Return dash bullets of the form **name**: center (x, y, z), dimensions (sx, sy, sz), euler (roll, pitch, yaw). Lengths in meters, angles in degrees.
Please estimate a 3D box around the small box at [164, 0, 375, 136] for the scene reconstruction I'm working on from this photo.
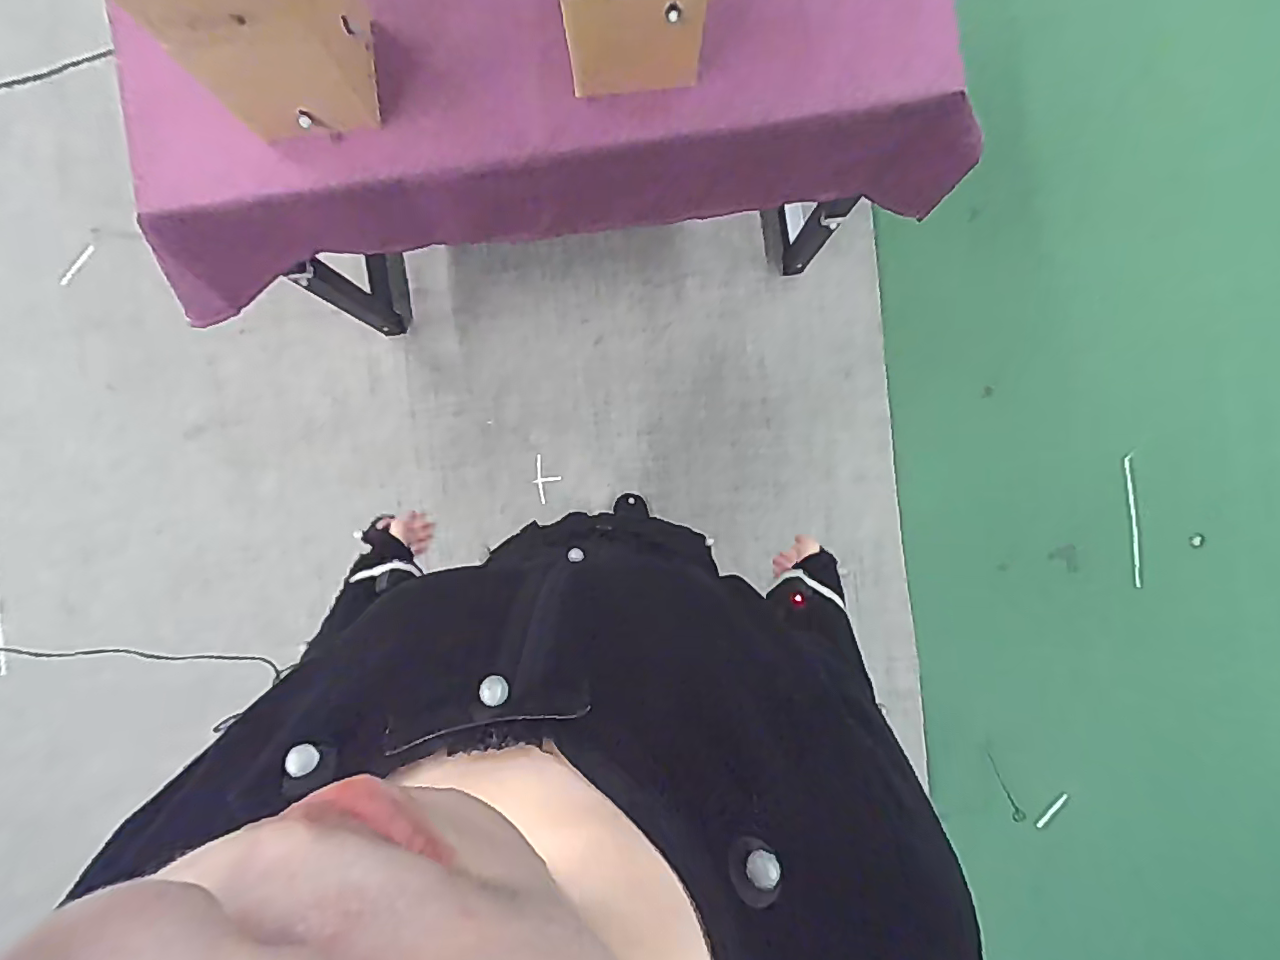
- **small box**: center (-0.463, -0.579, 0.697), dimensions (0.179, 0.176, 0.168), euler (-6, 89, -1)

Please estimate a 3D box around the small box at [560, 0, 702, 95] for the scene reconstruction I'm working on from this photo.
- **small box**: center (-0.014, -0.639, 0.701), dimensions (0.179, 0.176, 0.168), euler (-5, 90, -1)
